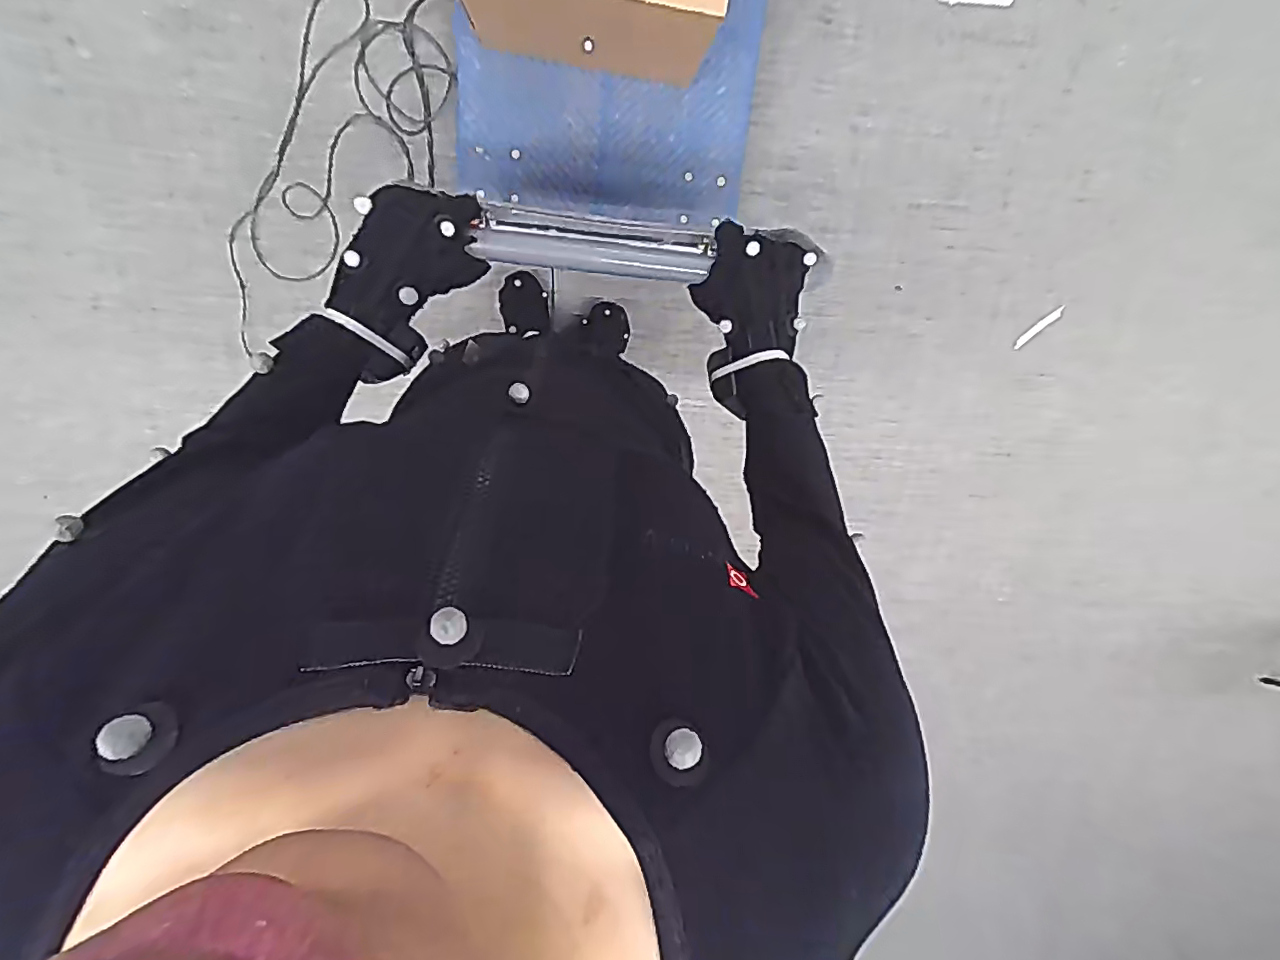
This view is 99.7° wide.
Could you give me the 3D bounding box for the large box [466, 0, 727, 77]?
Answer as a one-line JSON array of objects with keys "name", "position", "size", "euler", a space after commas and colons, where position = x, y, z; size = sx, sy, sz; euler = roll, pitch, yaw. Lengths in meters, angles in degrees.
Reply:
[{"name": "large box", "position": [-0.063, -0.890, 0.852], "size": [0.408, 0.320, 0.320], "euler": [6, 110, -6]}]
